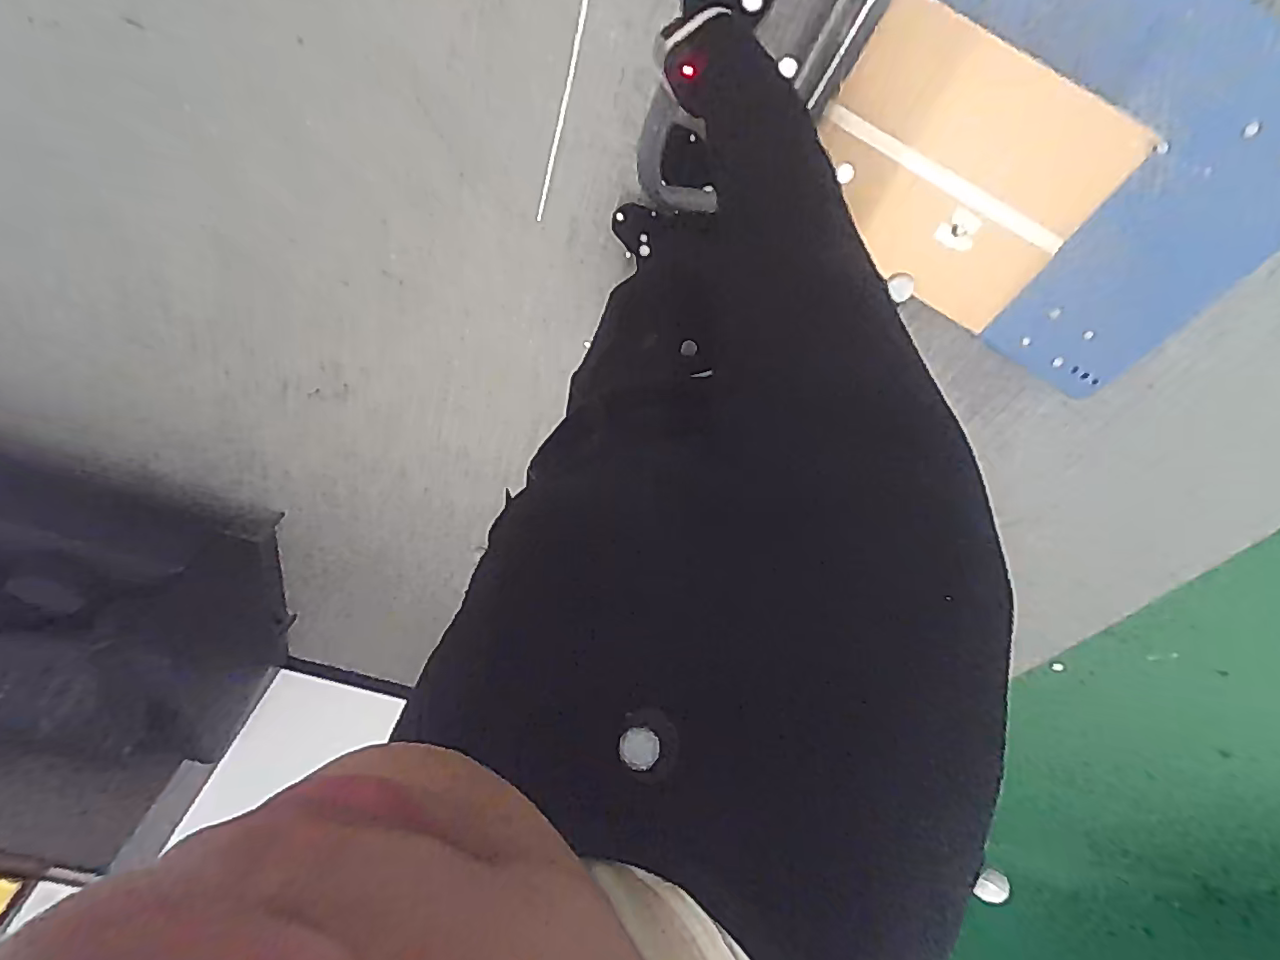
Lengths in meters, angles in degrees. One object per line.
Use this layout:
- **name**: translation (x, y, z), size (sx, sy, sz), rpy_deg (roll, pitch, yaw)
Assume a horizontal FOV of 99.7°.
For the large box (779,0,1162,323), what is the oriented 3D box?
- **large box**: translation (0.505, -0.538, 0.921), size (0.408, 0.320, 0.320), rpy_deg (32, 129, 1)
